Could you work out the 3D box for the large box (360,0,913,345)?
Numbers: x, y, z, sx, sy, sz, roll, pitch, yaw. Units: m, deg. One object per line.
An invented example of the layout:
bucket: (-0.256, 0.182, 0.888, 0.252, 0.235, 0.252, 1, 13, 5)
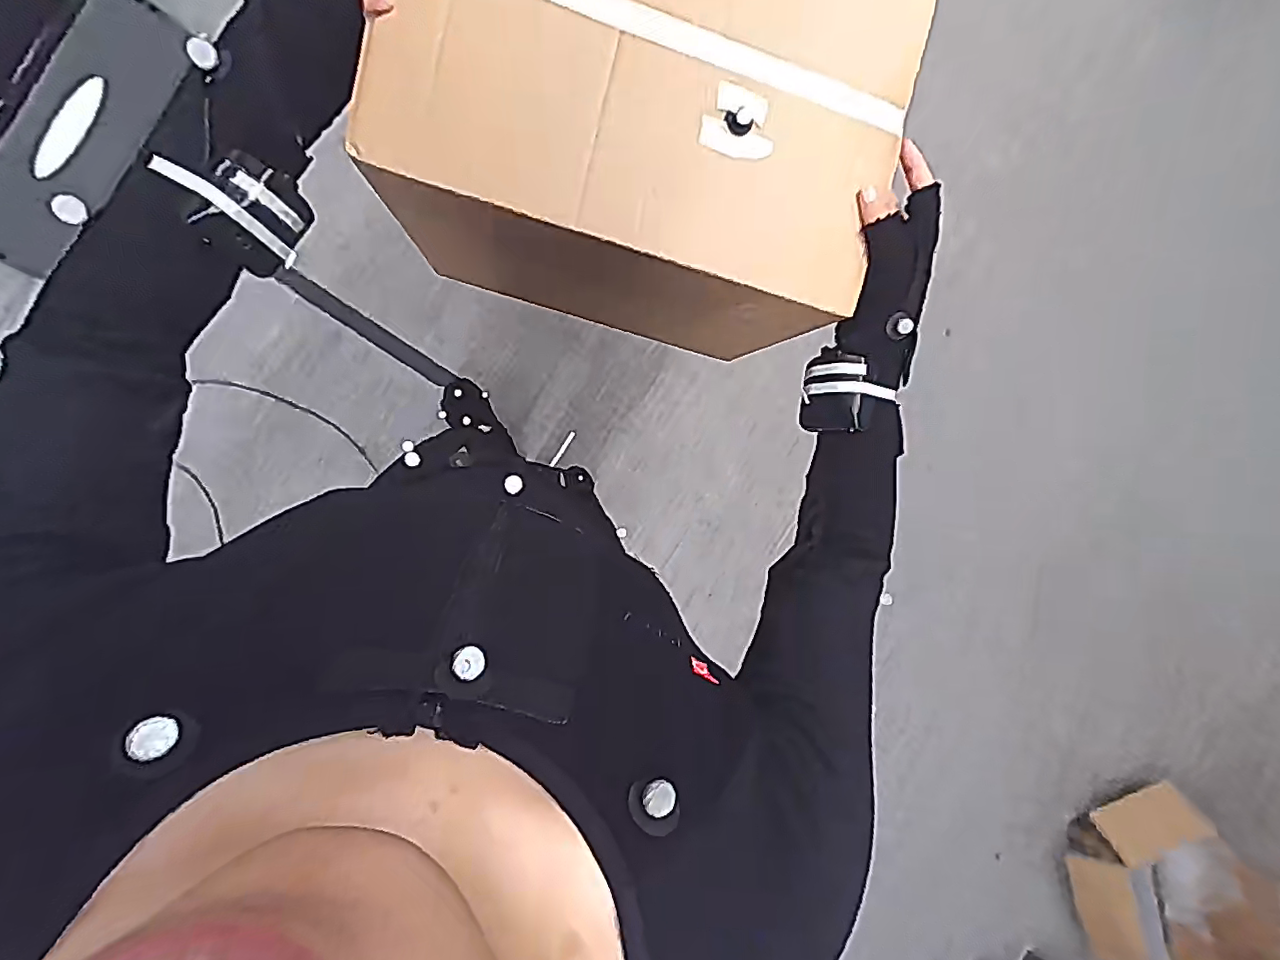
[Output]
large box: (-0.011, -0.359, 0.564, 0.408, 0.320, 0.320, 12, 94, -11)
